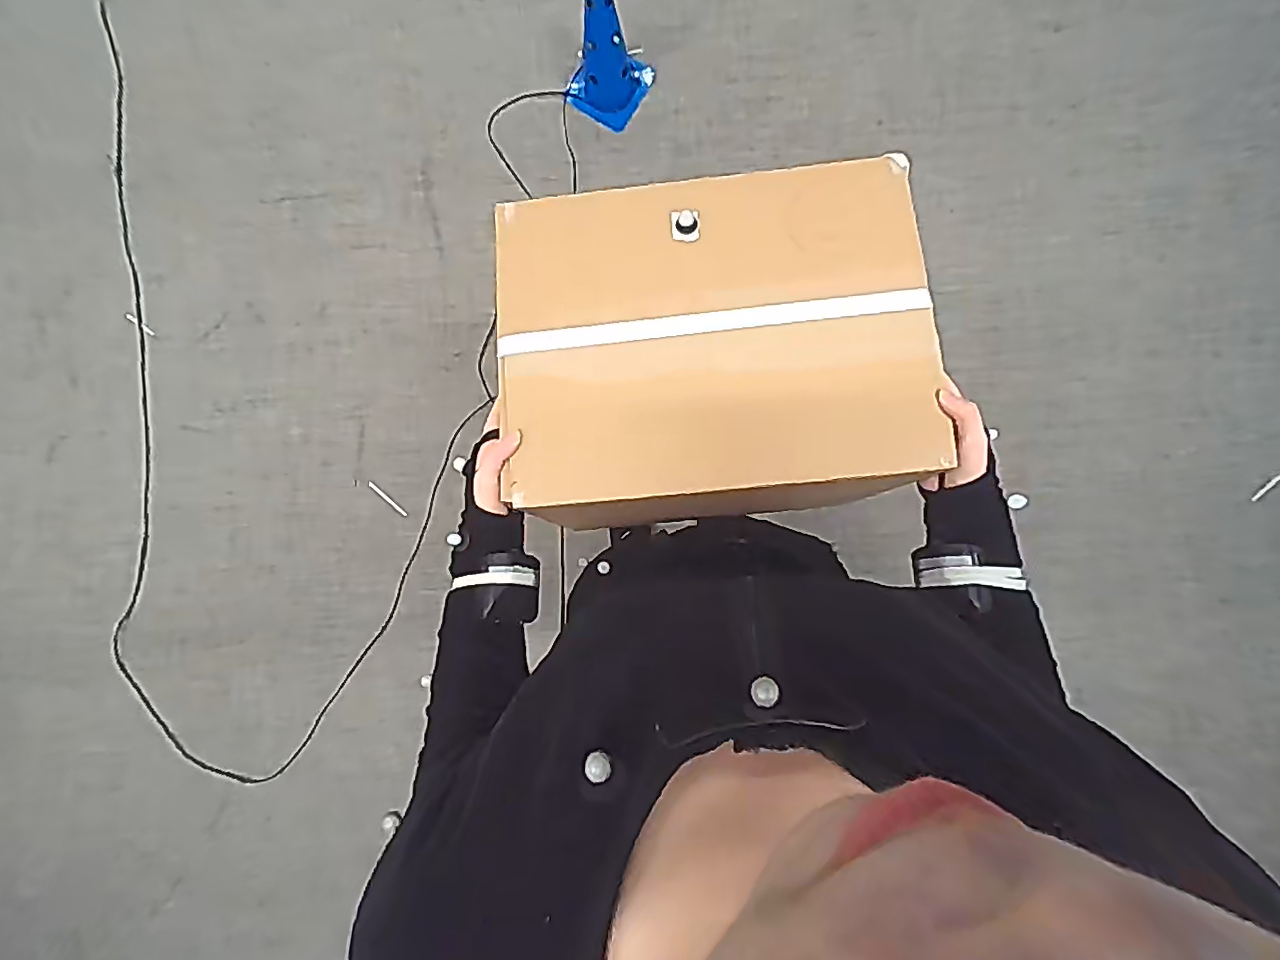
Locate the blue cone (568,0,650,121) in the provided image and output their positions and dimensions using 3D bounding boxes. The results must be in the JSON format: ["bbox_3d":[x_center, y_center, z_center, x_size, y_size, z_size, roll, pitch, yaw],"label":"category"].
[{"bbox_3d":[-0.090,-1.102,1.315,0.192,0.380,0.193,30,90,1],"label":"blue cone"}]
